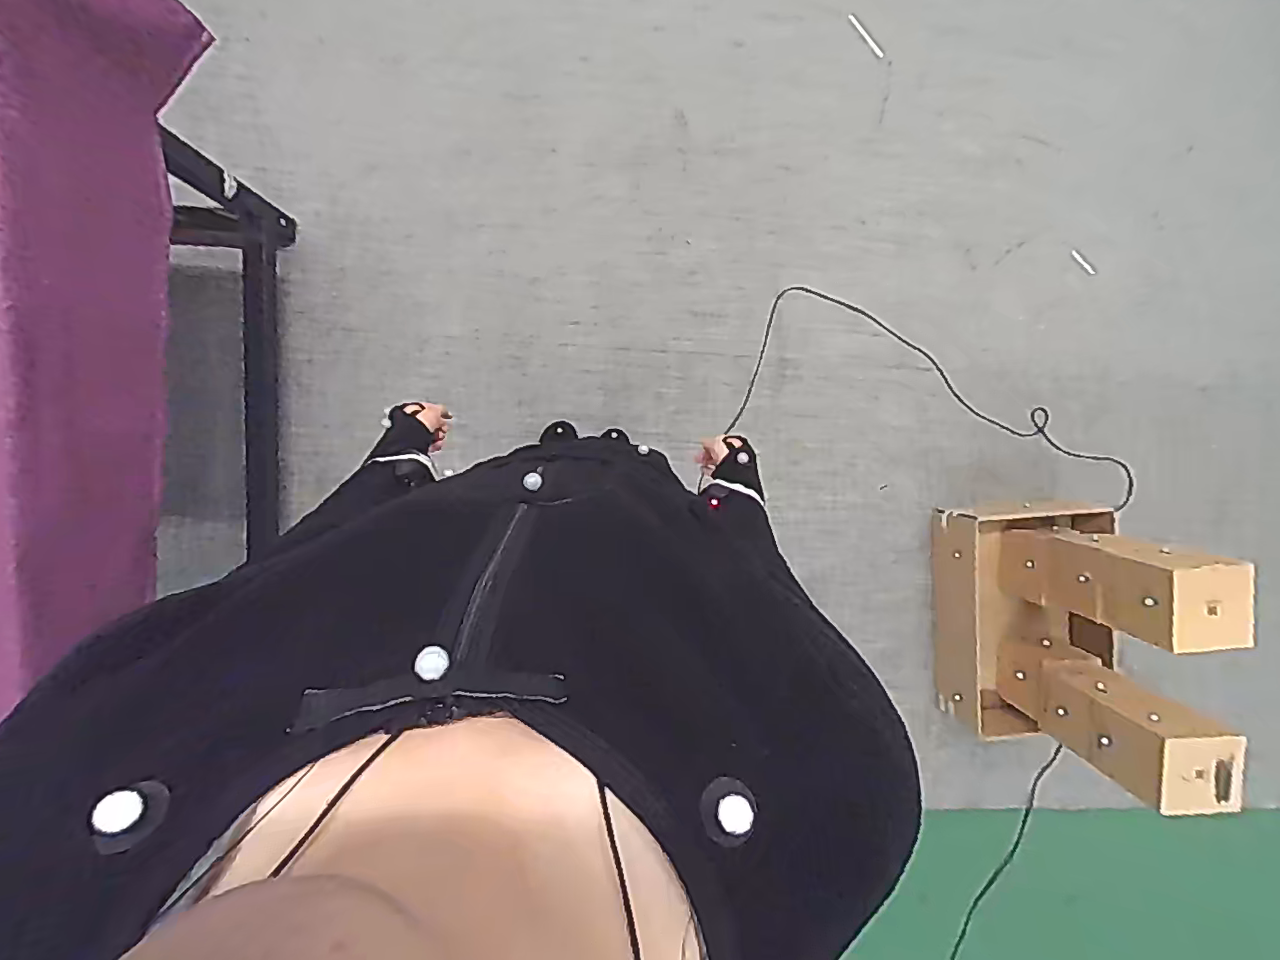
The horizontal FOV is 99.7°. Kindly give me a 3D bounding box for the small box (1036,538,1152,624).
[{"bbox_3d":[1.113,0.240,1.322,0.168,0.176,0.179,0,96,-2],"label":"small box"}]

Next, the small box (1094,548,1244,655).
[{"bbox_3d":[1.121,0.254,1.160,0.168,0.176,0.179,-5,94,-2],"label":"small box"}]

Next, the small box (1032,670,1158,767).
[{"bbox_3d":[1.123,0.588,1.349,0.179,0.176,0.168,0,95,-4],"label":"small box"}]

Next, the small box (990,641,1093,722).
[{"bbox_3d":[1.114,0.560,1.512,0.168,0.176,0.179,0,94,-4],"label":"small box"}]
